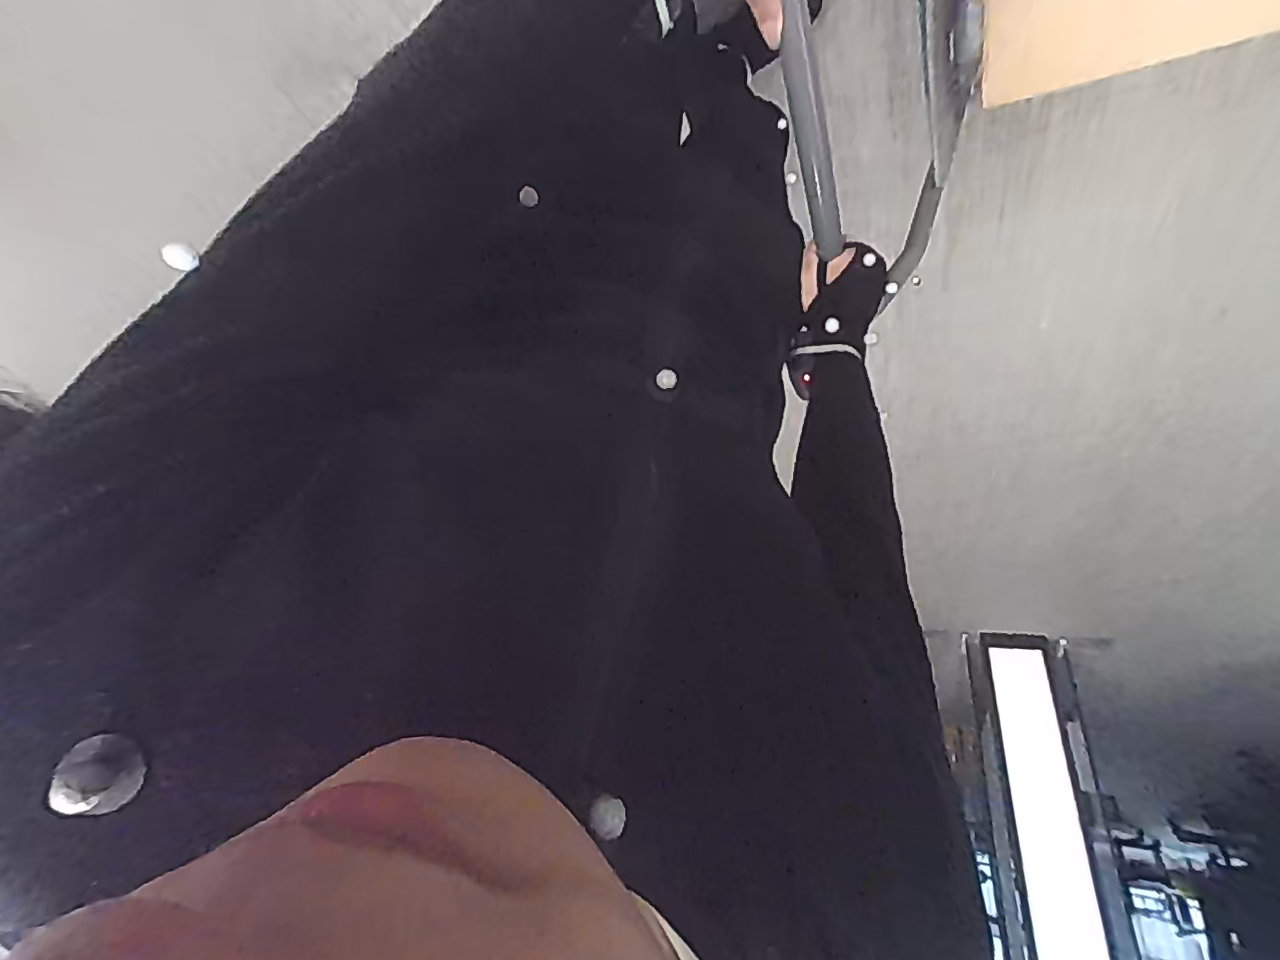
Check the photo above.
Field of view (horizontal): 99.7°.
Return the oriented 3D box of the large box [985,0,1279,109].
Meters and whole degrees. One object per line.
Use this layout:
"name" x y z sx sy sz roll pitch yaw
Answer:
"large box" 0.629 -0.709 0.606 0.408 0.320 0.320 3 145 33
